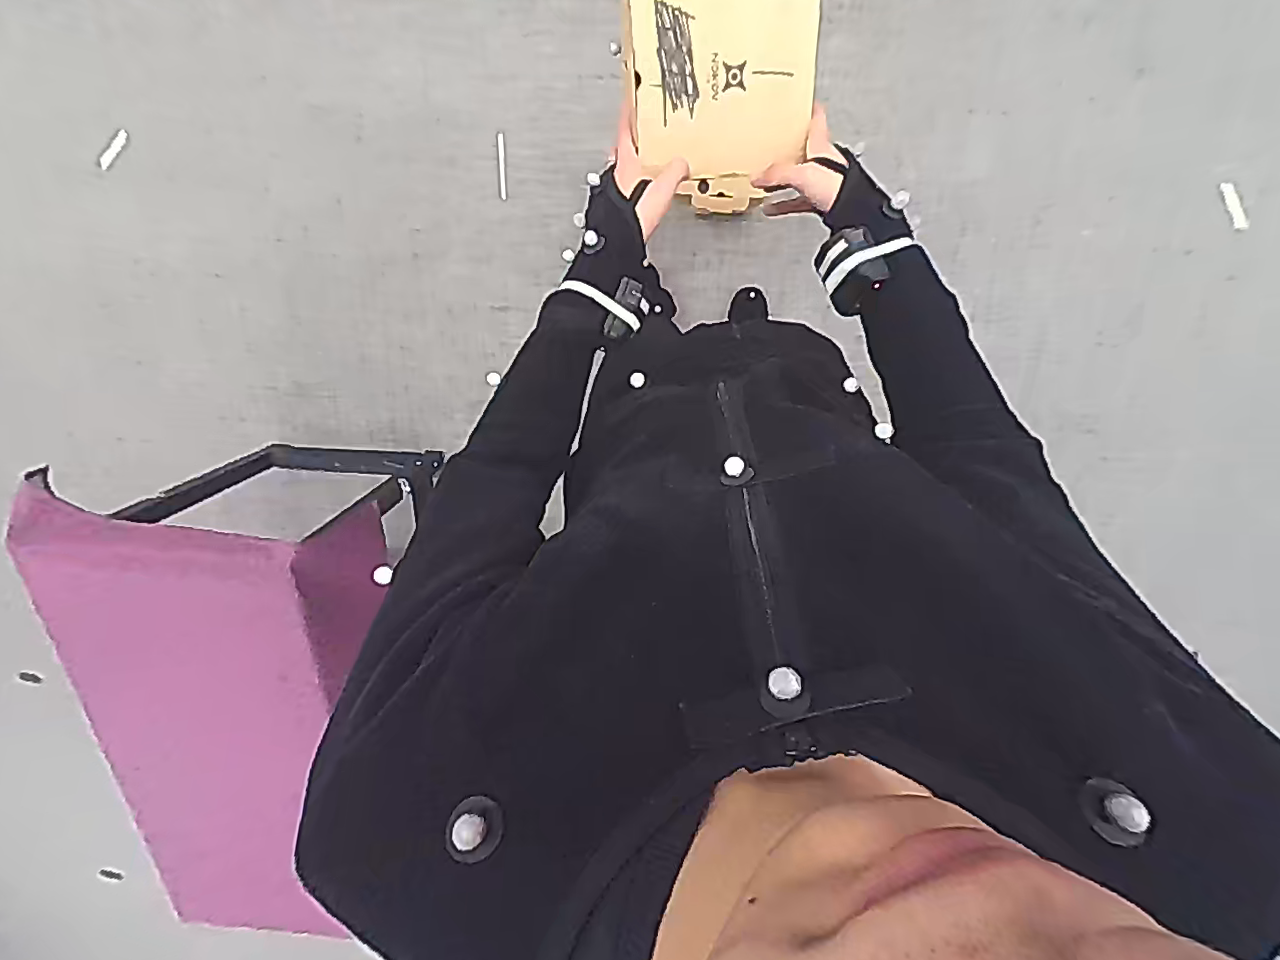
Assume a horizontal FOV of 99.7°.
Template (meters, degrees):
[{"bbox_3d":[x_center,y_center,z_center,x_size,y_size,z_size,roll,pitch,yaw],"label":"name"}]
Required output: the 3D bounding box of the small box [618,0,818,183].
[{"bbox_3d":[0.068,-0.410,0.566,0.179,0.176,0.168,-6,119,-2],"label":"small box"}]

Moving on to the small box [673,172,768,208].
[{"bbox_3d":[0.149,-0.612,0.997,0.168,0.176,0.179,5,112,3],"label":"small box"}]

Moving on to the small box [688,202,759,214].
[{"bbox_3d":[0.201,-0.740,1.298,0.168,0.176,0.179,0,111,5],"label":"small box"}]
